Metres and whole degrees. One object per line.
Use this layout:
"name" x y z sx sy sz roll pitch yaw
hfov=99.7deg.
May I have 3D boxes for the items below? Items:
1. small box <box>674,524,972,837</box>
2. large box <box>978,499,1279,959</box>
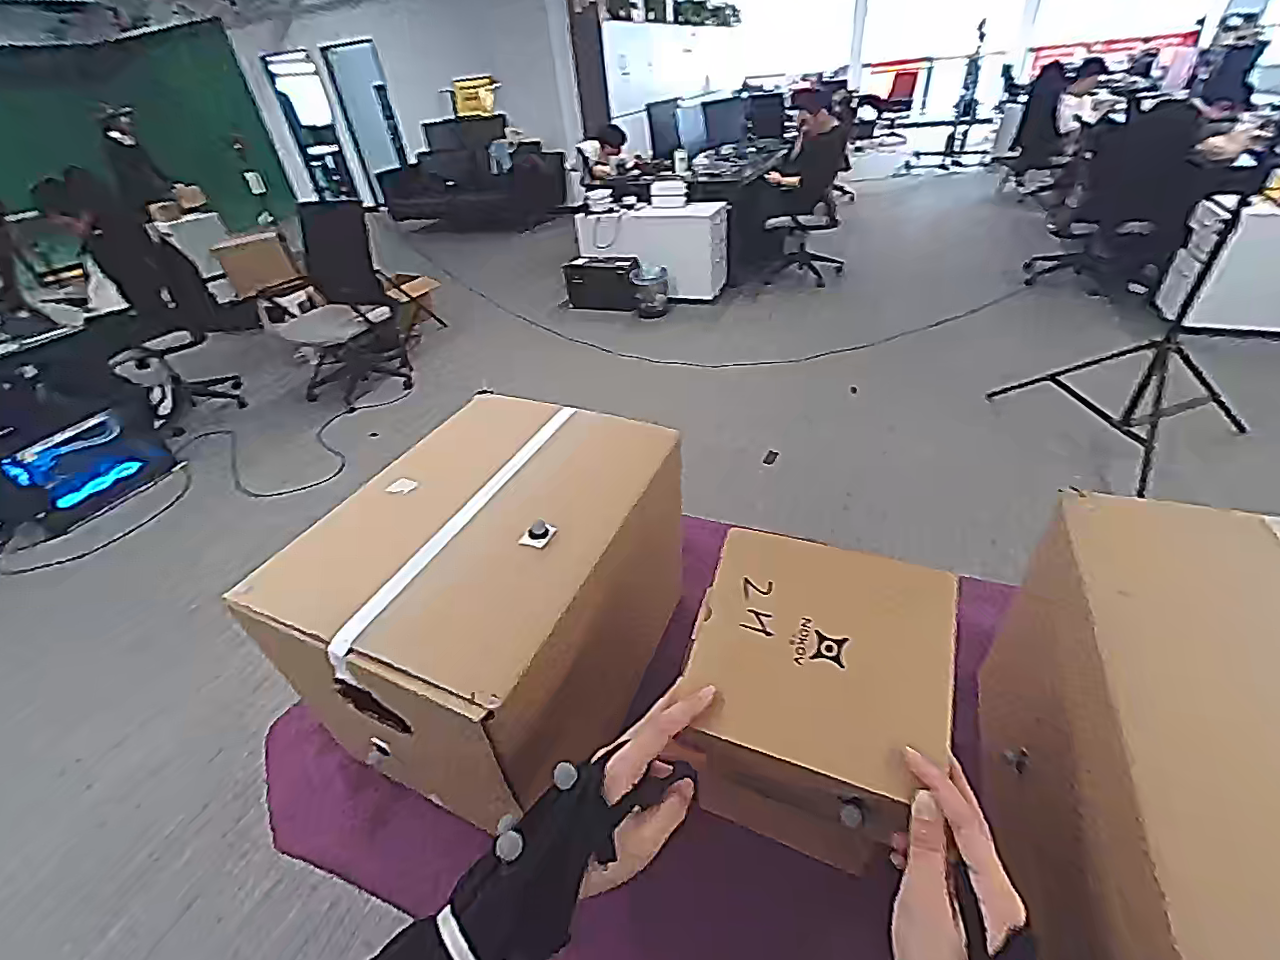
"small box" 0.144 0.163 0.438 0.179 0.176 0.168 11 54 22
"large box" 0.484 0.274 0.417 0.320 0.320 0.408 11 39 21
